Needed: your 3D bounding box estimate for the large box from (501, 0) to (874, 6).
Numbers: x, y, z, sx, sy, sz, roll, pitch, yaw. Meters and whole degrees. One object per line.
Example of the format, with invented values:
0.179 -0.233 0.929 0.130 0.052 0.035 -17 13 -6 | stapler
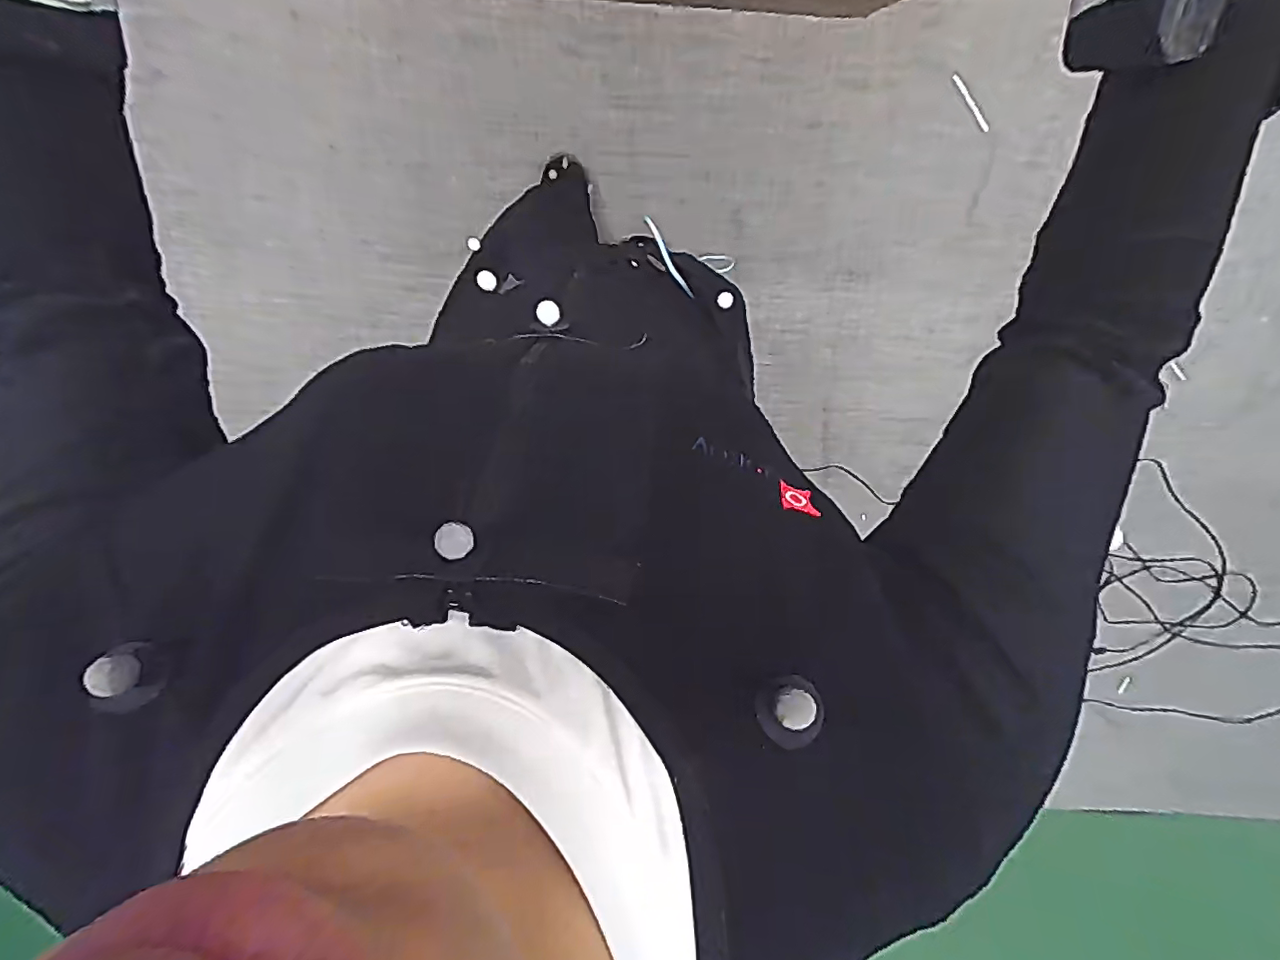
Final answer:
0.003 -0.467 0.271 0.408 0.320 0.320 3 125 1 | large box
